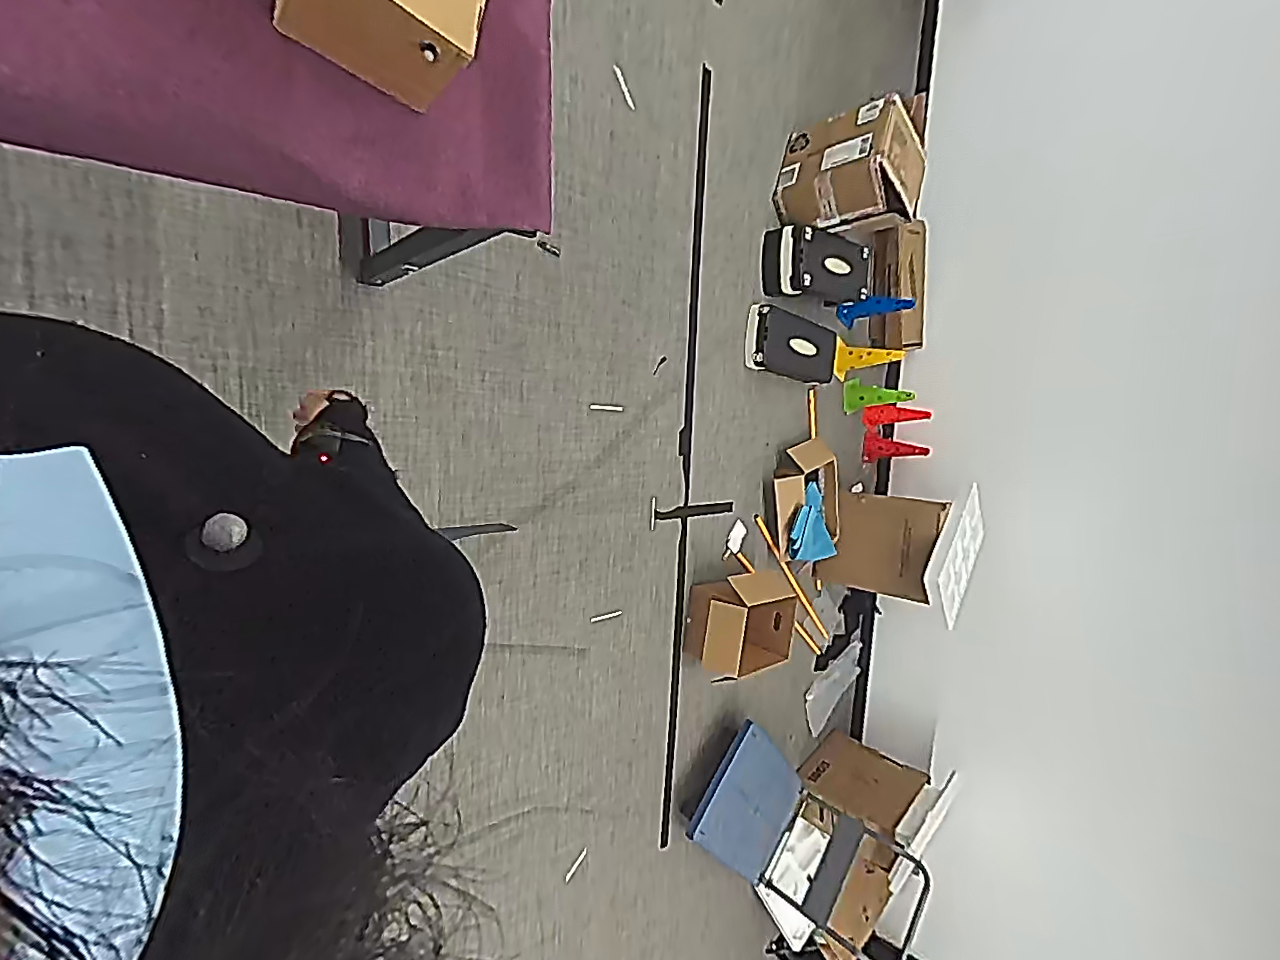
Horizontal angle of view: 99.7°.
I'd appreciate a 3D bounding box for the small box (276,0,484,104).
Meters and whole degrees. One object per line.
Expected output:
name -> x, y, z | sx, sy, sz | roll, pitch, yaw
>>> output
small box -> -0.292, -0.579, 0.617 | 0.179, 0.176, 0.168 | 9, 90, -44
